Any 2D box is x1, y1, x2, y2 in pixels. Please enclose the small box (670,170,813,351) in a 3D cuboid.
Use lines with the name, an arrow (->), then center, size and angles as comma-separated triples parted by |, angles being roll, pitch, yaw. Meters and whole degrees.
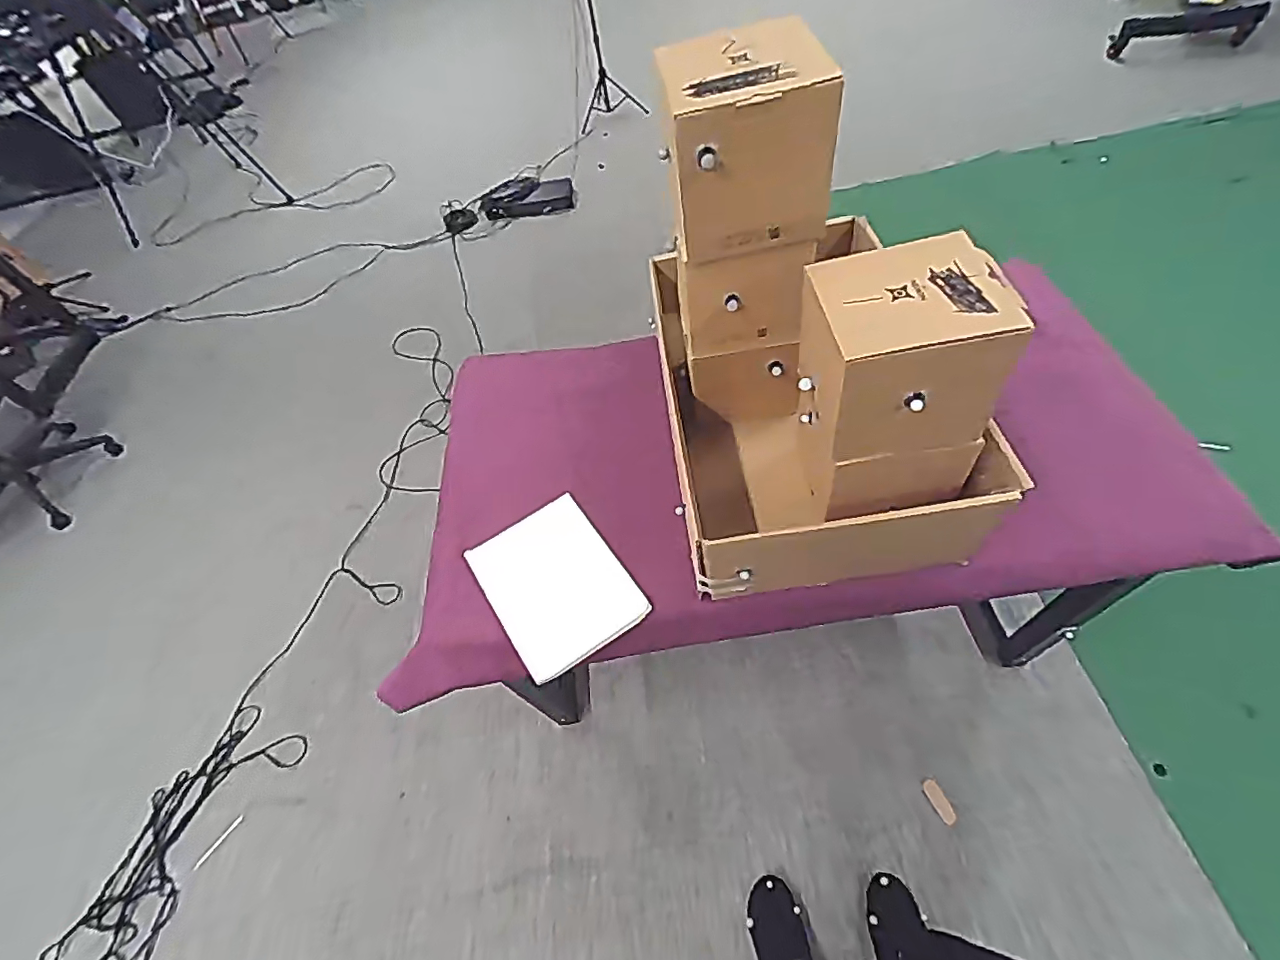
small box -> 0.140, -0.302, 0.773 | 0.168, 0.176, 0.179 | -8, 55, 5

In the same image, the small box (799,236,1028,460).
small box -> 0.289, -0.144, 0.622 | 0.179, 0.176, 0.168 | -9, 53, 8
